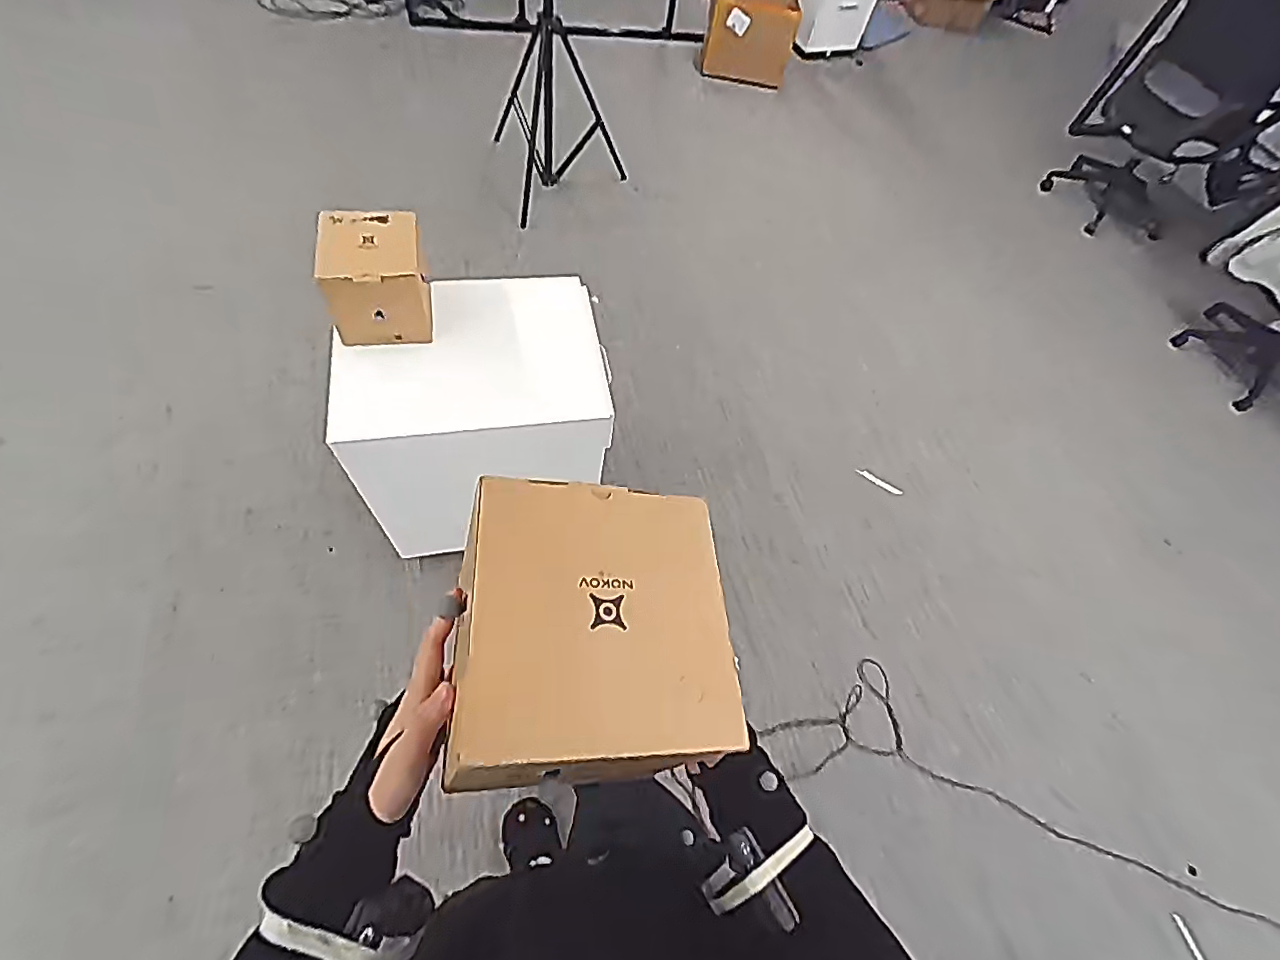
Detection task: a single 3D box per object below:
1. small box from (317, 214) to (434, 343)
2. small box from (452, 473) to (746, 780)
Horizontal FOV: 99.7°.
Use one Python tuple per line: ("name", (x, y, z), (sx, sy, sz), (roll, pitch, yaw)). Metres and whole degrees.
("small box", (-0.494, -0.378, 1.033), (0.168, 0.176, 0.179), (-6, 64, -14))
("small box", (-0.046, 0.118, 0.404), (0.168, 0.176, 0.179), (6, 55, -19))
